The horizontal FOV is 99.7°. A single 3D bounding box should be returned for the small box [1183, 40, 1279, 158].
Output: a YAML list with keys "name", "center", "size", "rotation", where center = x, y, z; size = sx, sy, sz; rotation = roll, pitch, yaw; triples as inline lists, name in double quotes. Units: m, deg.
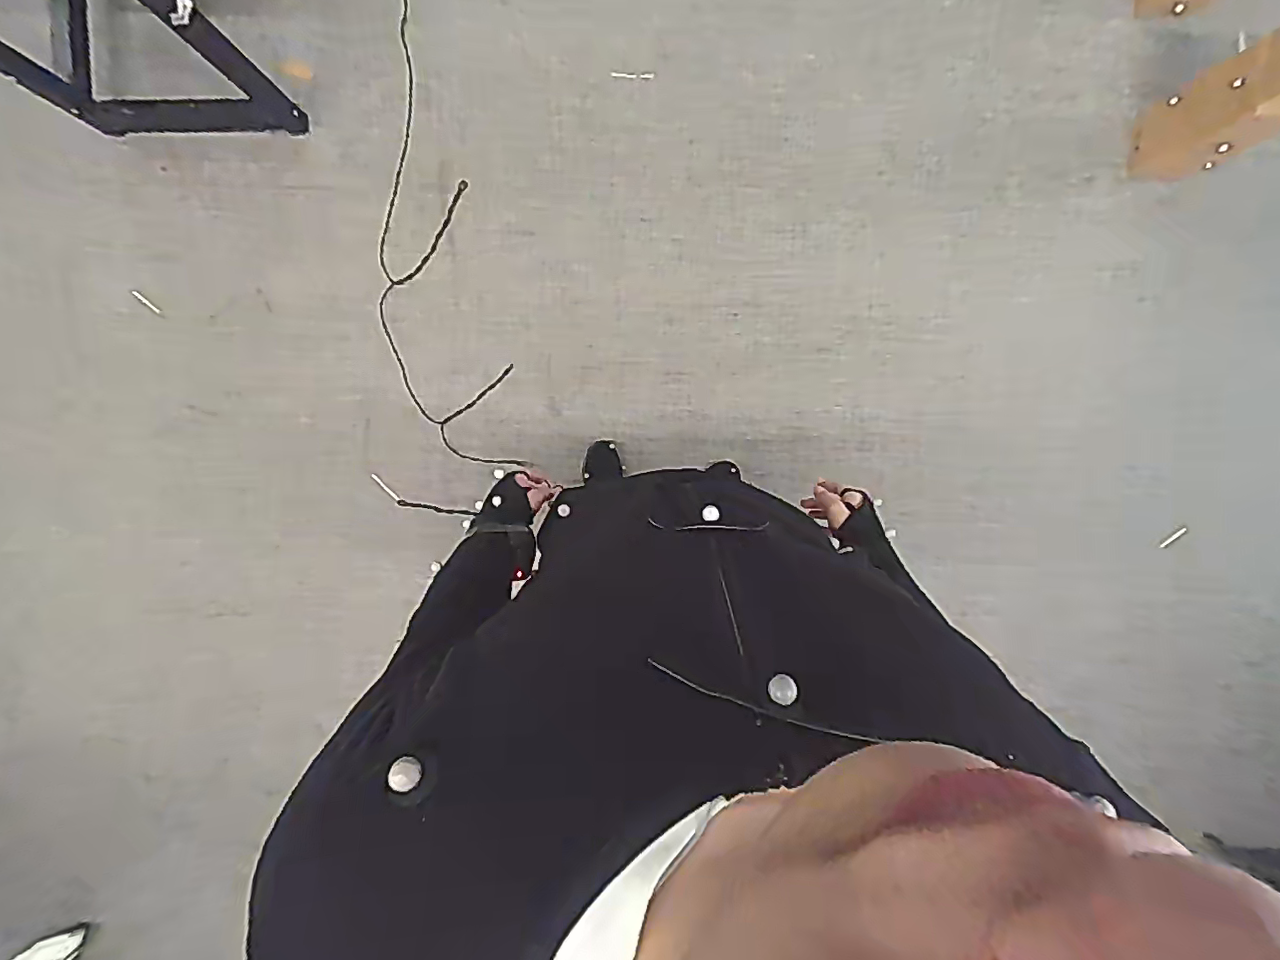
- name: "small box"
  center: [1.510, -0.936, 1.337]
  size: [0.168, 0.176, 0.179]
  rotation: [2, 95, 0]

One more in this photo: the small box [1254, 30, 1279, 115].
- name: "small box"
  center: [1.514, -0.922, 1.176]
  size: [0.168, 0.176, 0.179]
  rotation: [7, 93, 0]

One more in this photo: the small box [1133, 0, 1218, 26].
- name: "small box"
  center: [1.498, -1.393, 1.472]
  size: [0.168, 0.176, 0.179]
  rotation: [0, 95, 0]
